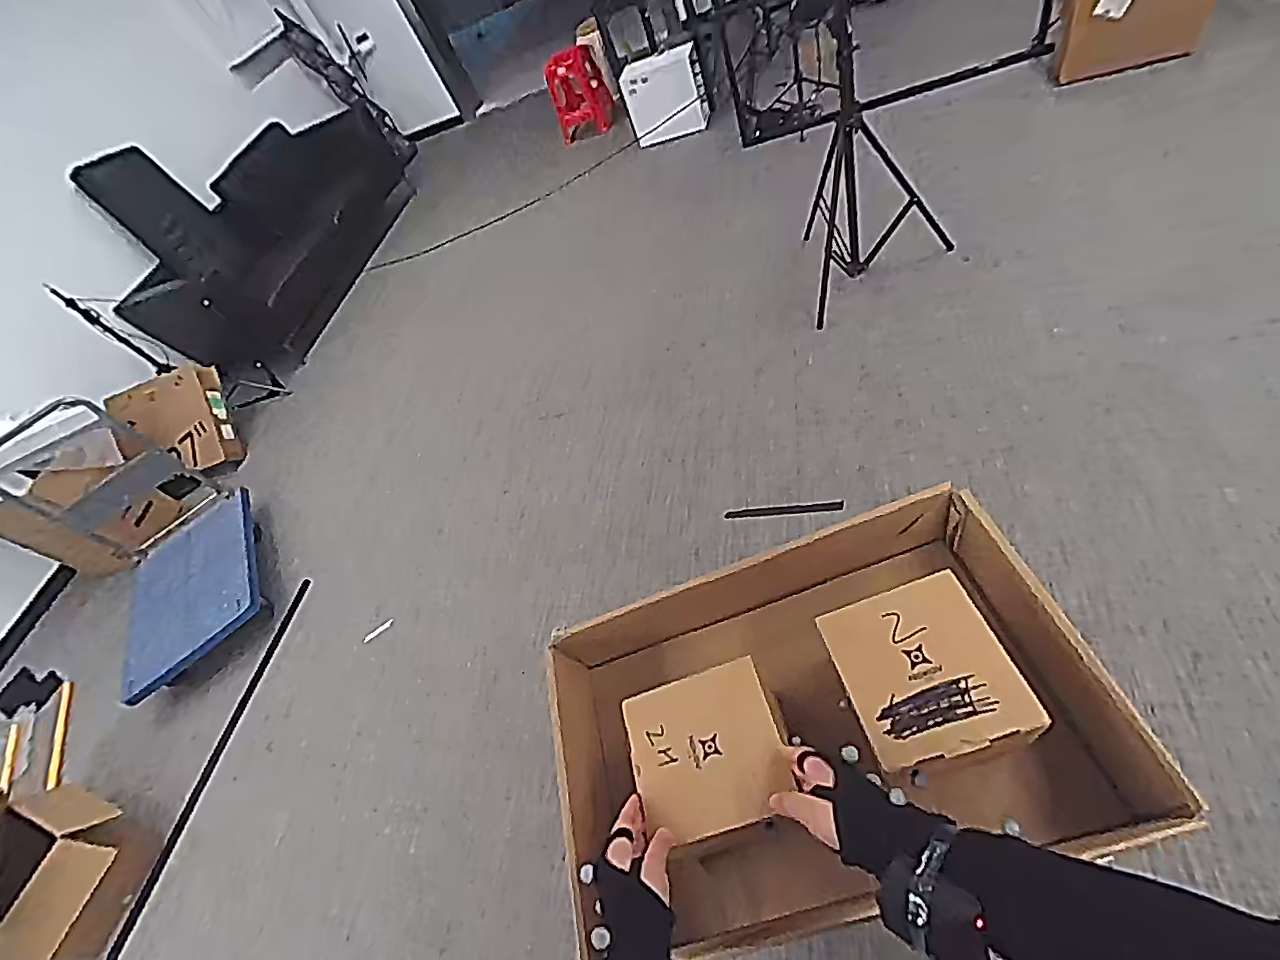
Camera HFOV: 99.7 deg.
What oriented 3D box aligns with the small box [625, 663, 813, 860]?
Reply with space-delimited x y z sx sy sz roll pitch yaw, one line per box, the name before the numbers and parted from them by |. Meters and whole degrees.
small box | 0.103 0.355 0.674 0.179 0.176 0.168 -23 49 9
